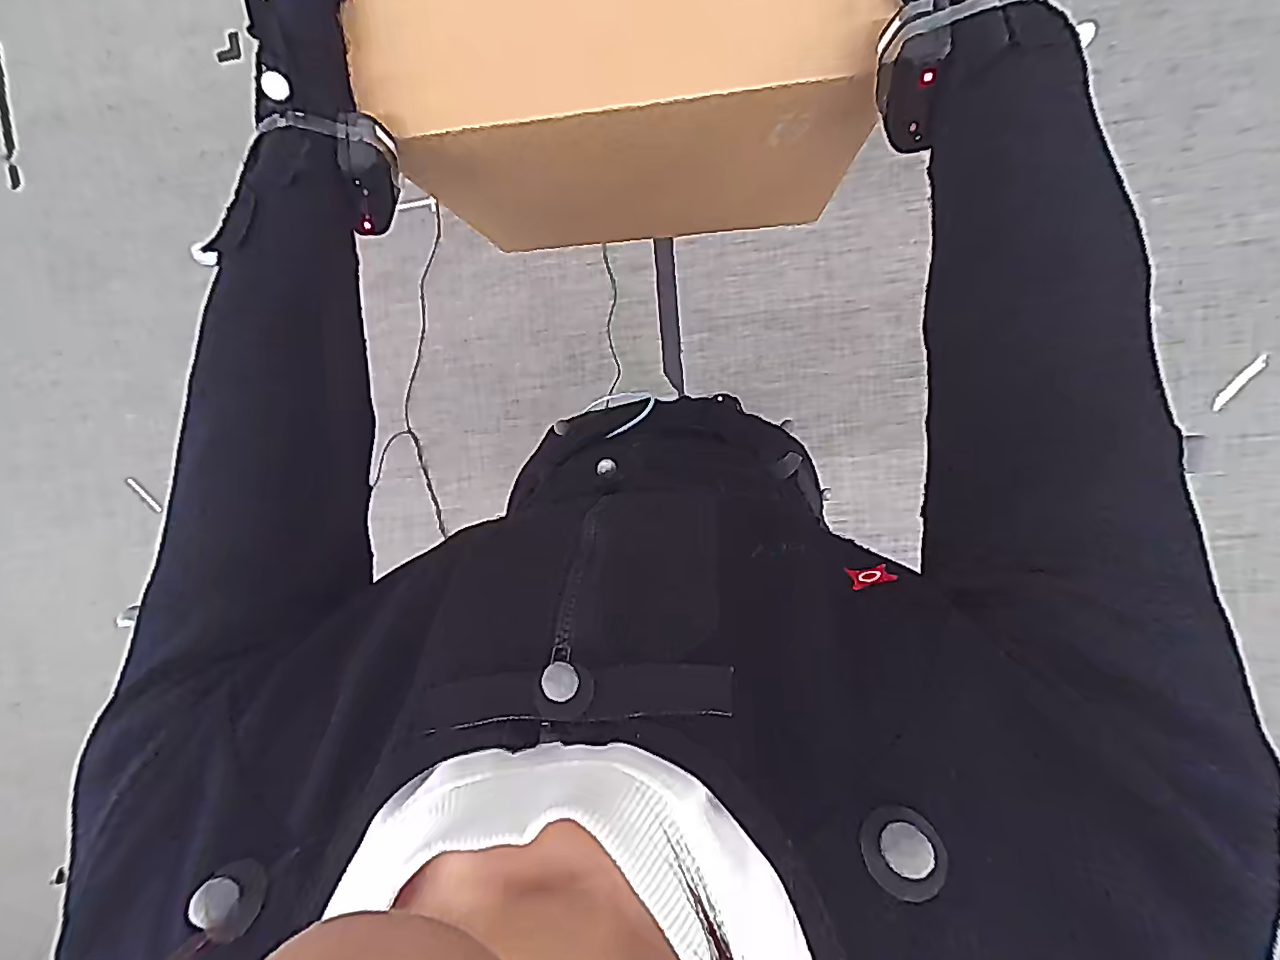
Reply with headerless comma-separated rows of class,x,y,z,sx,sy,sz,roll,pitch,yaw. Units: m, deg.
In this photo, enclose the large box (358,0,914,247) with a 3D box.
large box,-0.006,-0.448,0.524,0.408,0.320,0.320,-3,98,6
